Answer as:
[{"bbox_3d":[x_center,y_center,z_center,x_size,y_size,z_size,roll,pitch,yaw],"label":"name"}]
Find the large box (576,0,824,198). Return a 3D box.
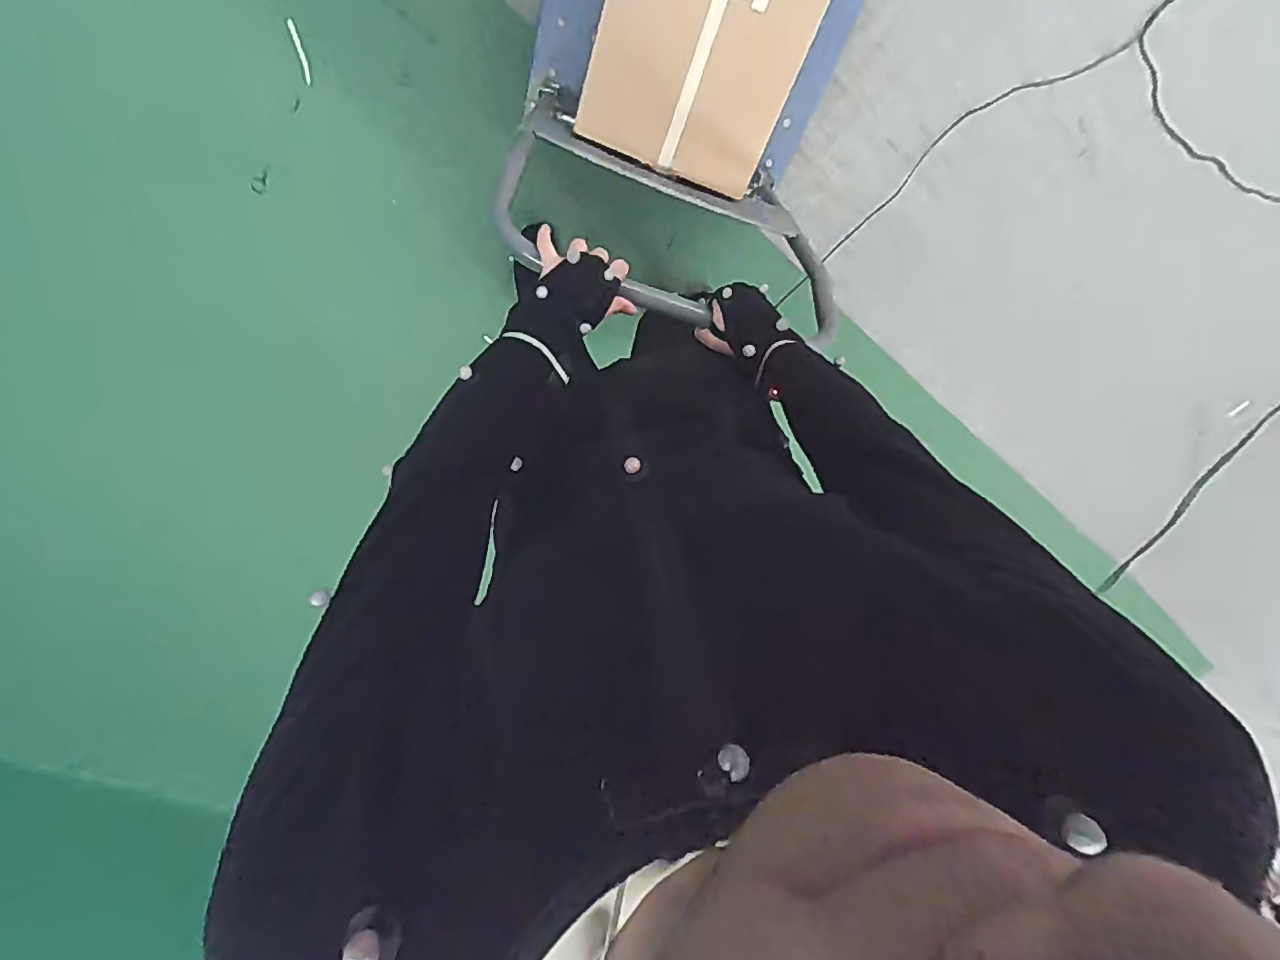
[{"bbox_3d":[0.093,-0.775,0.933,0.320,0.320,0.408,14,126,-15],"label":"large box"}]
